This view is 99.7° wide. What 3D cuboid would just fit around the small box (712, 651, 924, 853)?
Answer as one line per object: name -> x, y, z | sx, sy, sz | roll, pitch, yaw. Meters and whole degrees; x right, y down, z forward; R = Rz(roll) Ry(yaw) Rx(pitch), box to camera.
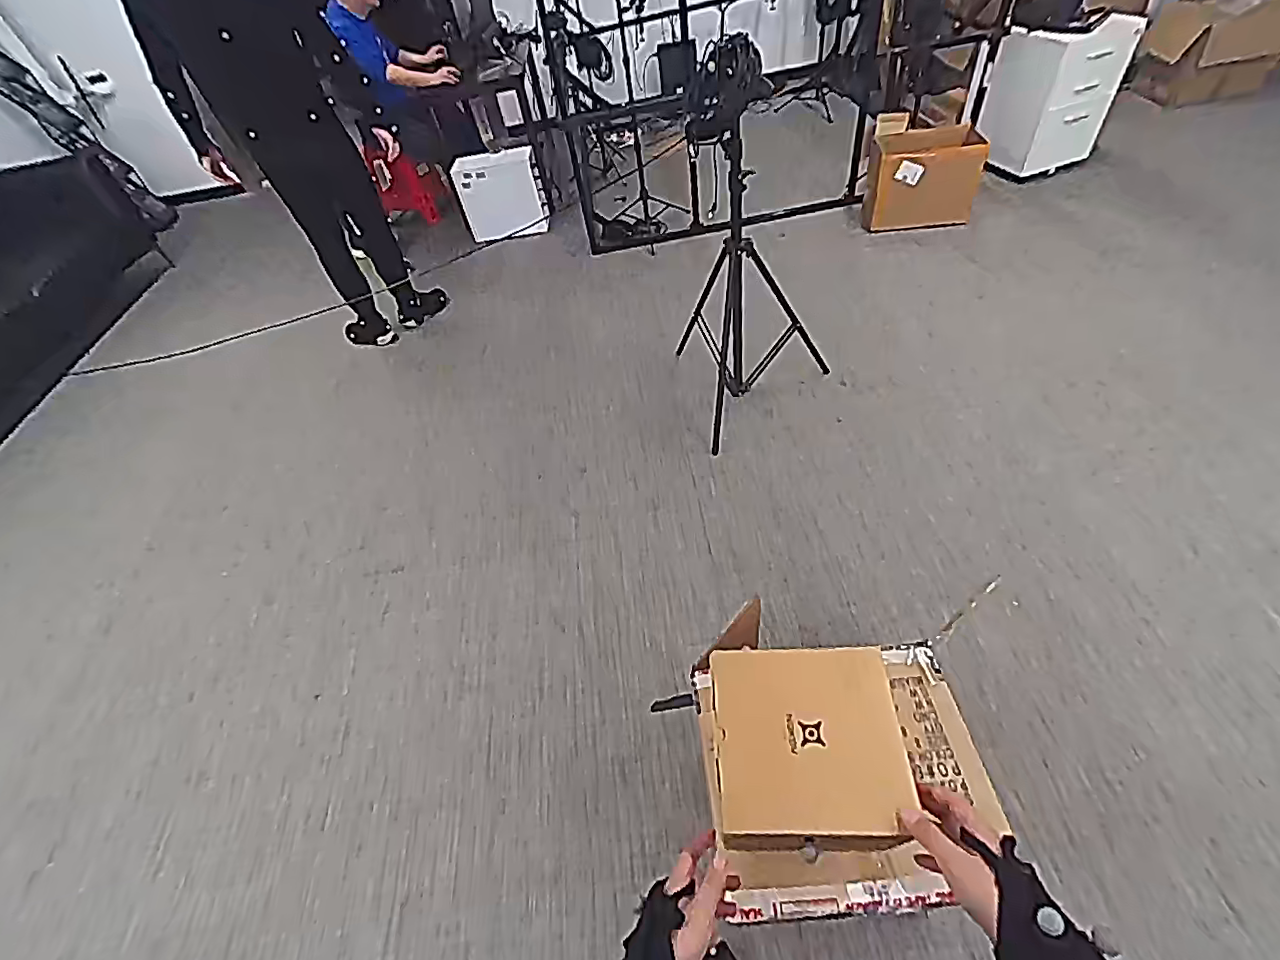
small box -> 0.171, 0.293, 0.580 | 0.179, 0.176, 0.168 | -5, 51, 8
